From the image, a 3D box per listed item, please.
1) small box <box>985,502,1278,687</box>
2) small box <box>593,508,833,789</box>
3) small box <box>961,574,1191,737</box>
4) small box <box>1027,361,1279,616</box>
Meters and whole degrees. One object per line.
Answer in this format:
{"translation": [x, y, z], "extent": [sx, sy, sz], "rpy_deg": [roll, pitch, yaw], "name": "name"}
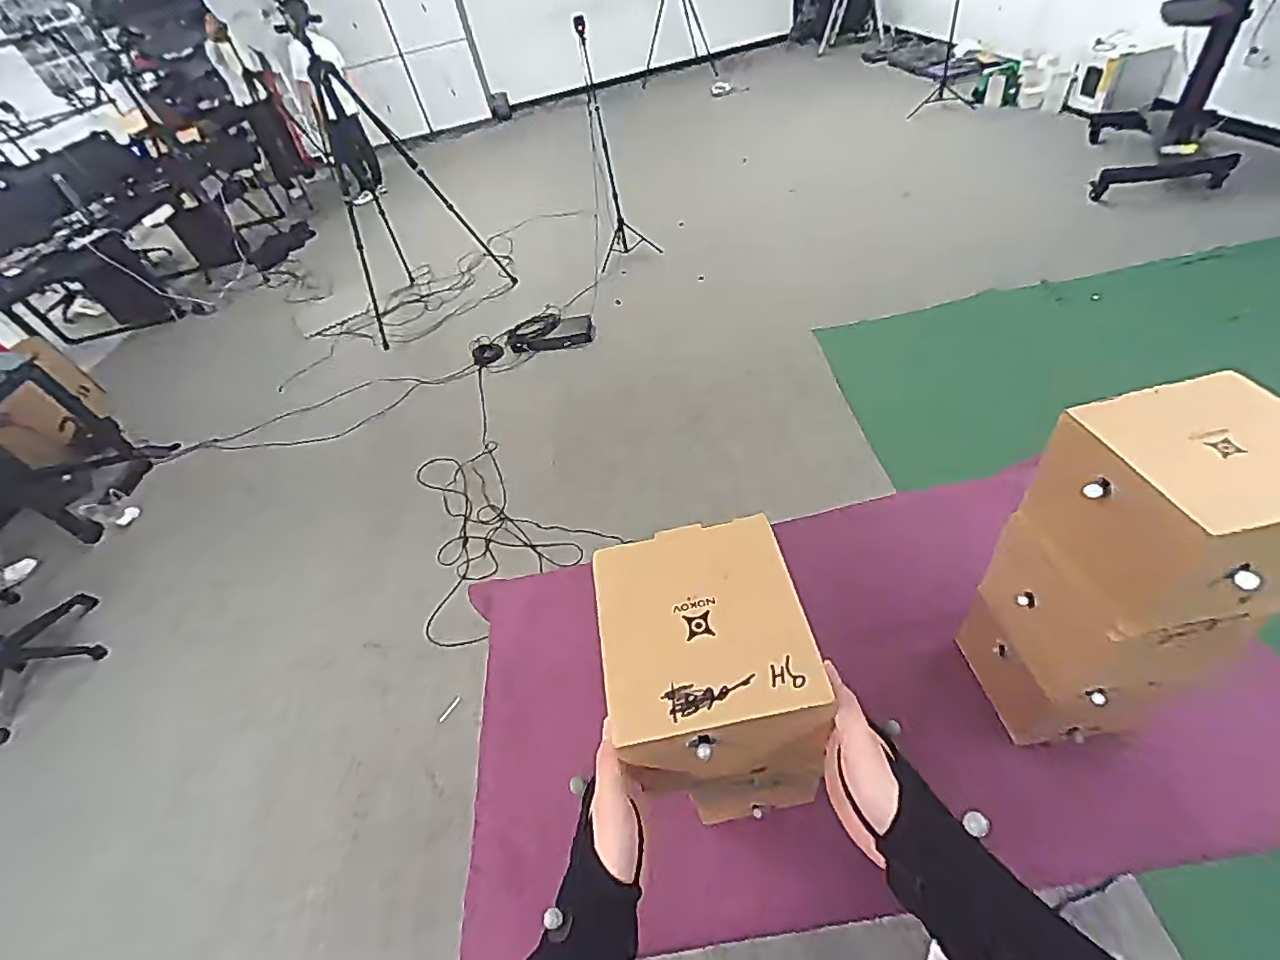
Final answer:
{"translation": [0.555, 0.129, 0.648], "extent": [0.168, 0.176, 0.179], "rpy_deg": [-12, 44, 5], "name": "small box"}
{"translation": [0.060, 0.157, 0.495], "extent": [0.168, 0.176, 0.179], "rpy_deg": [-14, 48, 4], "name": "small box"}
{"translation": [0.588, 0.237, 0.766], "extent": [0.168, 0.176, 0.179], "rpy_deg": [-12, 46, 6], "name": "small box"}
{"translation": [0.532, 0.016, 0.533], "extent": [0.168, 0.176, 0.179], "rpy_deg": [-14, 44, 4], "name": "small box"}
